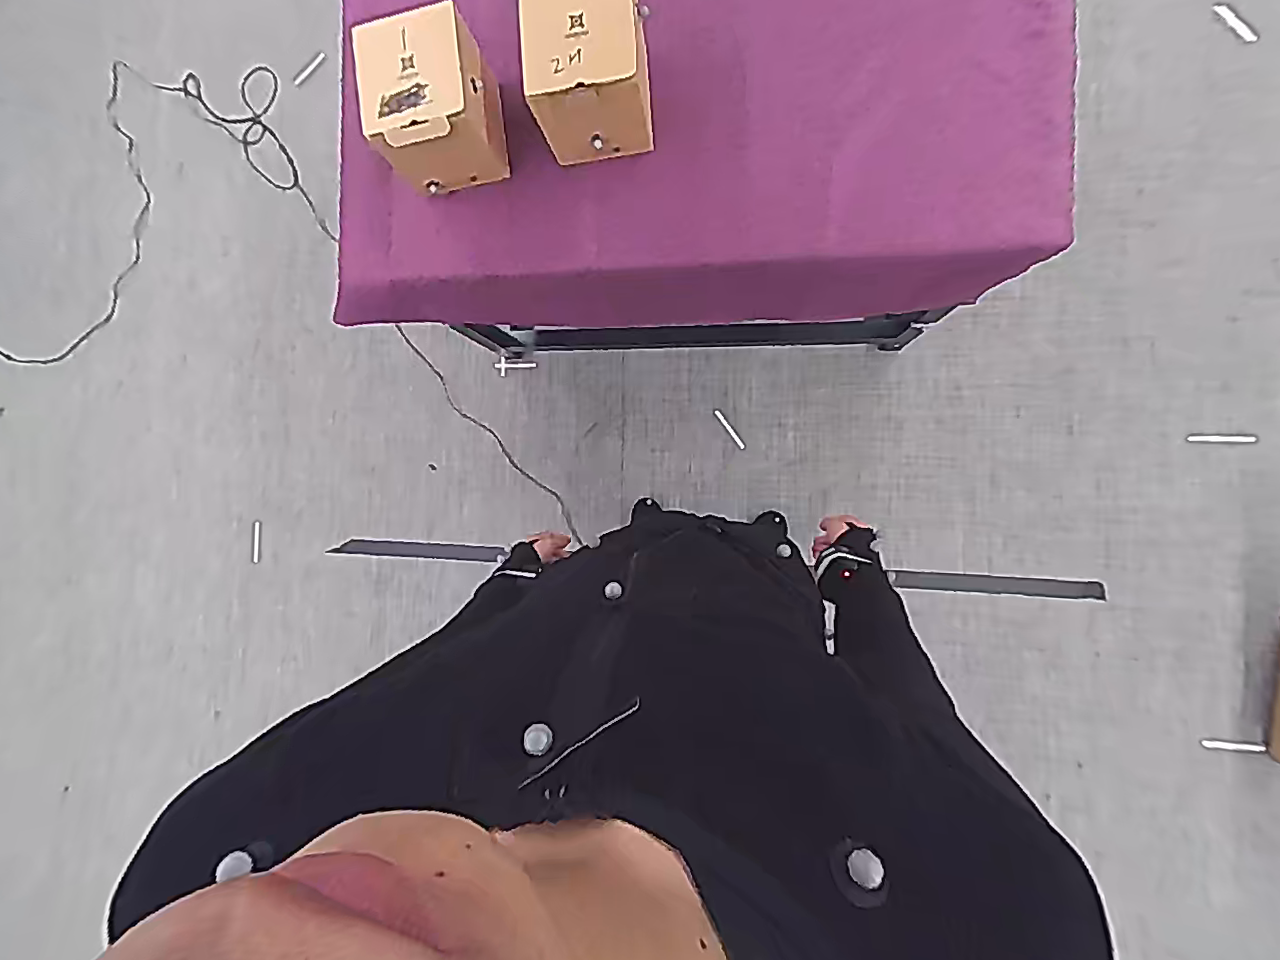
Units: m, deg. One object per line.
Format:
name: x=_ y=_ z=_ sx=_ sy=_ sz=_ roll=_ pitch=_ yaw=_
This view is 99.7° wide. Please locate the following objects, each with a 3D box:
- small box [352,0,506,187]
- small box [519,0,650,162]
small box: x=-0.330 y=-0.605 z=0.876 sx=0.168 sy=0.176 sz=0.179 roll=-8 pitch=88 yaw=8
small box: x=-0.078 y=-0.635 z=0.838 sx=0.168 sy=0.176 sz=0.179 roll=-4 pitch=89 yaw=9
